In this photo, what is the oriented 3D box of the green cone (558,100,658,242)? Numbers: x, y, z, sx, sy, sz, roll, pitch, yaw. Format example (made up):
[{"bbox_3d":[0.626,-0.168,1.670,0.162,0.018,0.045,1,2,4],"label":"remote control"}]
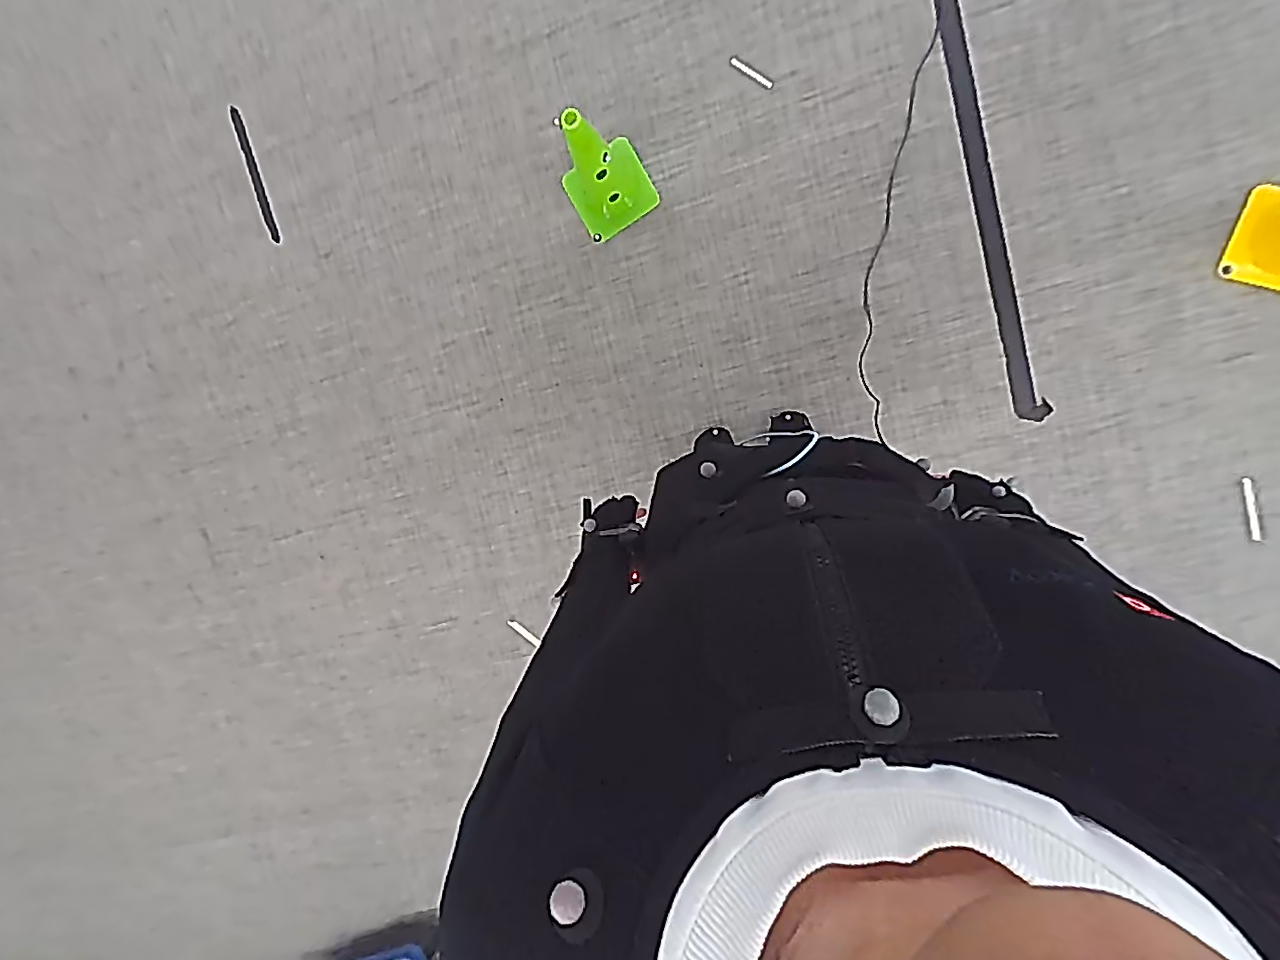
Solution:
[{"bbox_3d":[-0.106,-0.728,1.221,0.200,0.368,0.202,-30,90,11],"label":"green cone"}]
